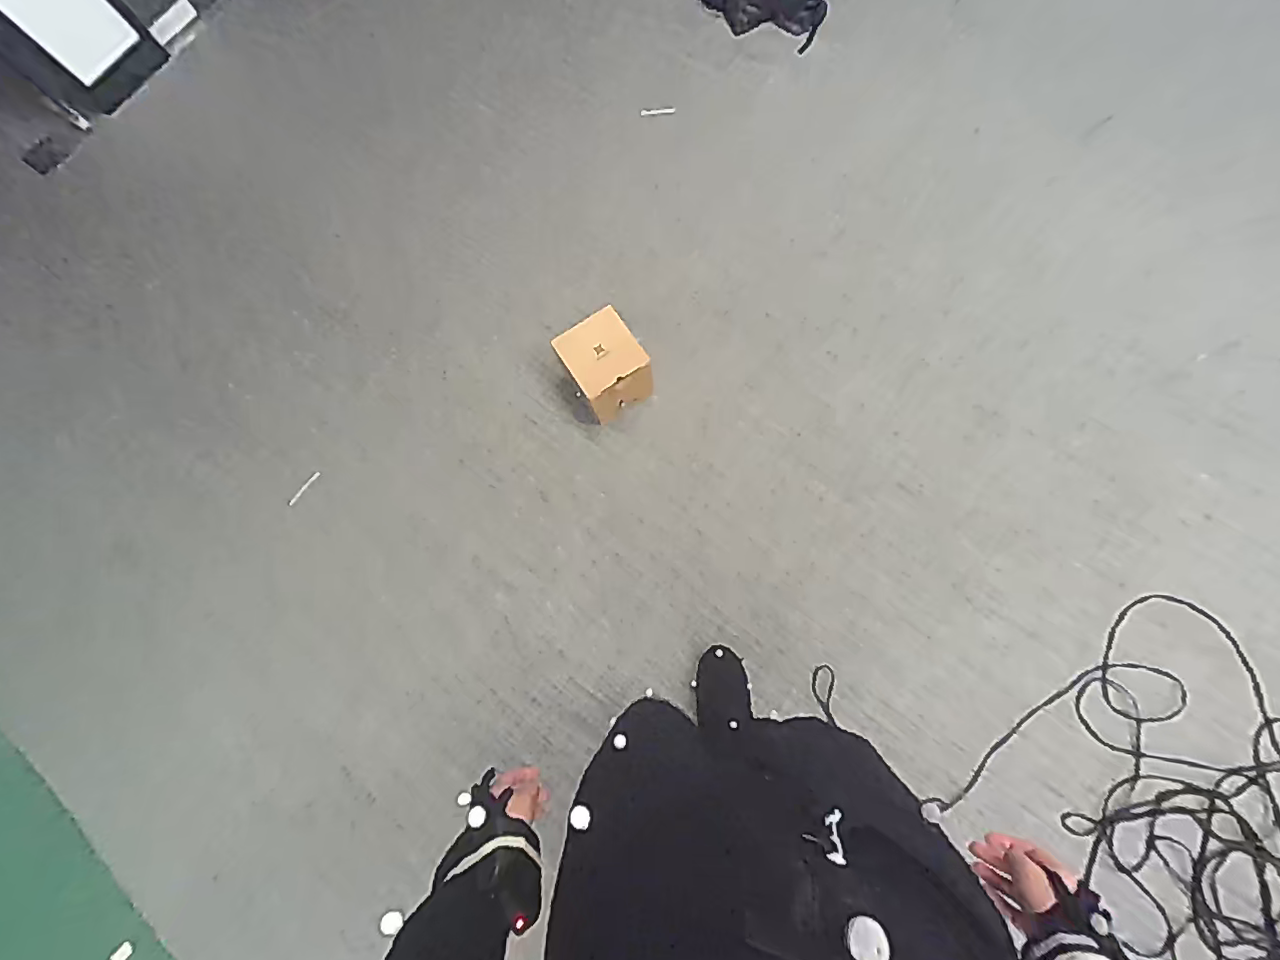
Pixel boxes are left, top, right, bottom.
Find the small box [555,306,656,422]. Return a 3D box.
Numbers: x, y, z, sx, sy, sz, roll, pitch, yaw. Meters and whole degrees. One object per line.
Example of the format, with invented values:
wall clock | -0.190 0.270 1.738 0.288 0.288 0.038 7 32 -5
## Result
small box | -0.076 -0.268 1.282 0.168 0.176 0.179 -33 76 -4
